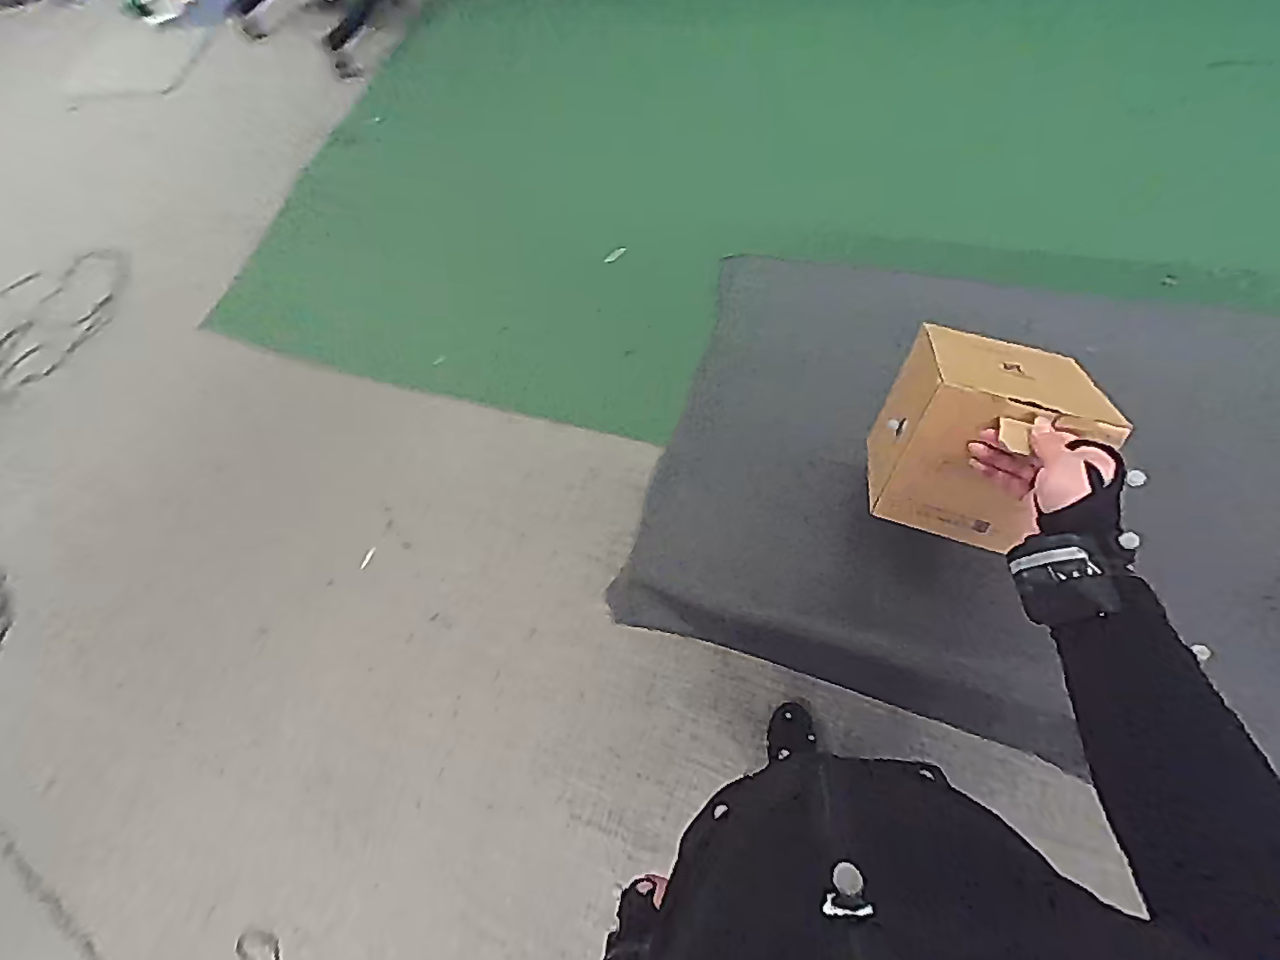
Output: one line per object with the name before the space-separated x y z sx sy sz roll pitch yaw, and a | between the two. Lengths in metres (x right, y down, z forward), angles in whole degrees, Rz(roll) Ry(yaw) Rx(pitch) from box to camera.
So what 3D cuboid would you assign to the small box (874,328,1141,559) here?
small box | 0.375 -0.042 0.598 0.168 0.176 0.179 19 37 8
